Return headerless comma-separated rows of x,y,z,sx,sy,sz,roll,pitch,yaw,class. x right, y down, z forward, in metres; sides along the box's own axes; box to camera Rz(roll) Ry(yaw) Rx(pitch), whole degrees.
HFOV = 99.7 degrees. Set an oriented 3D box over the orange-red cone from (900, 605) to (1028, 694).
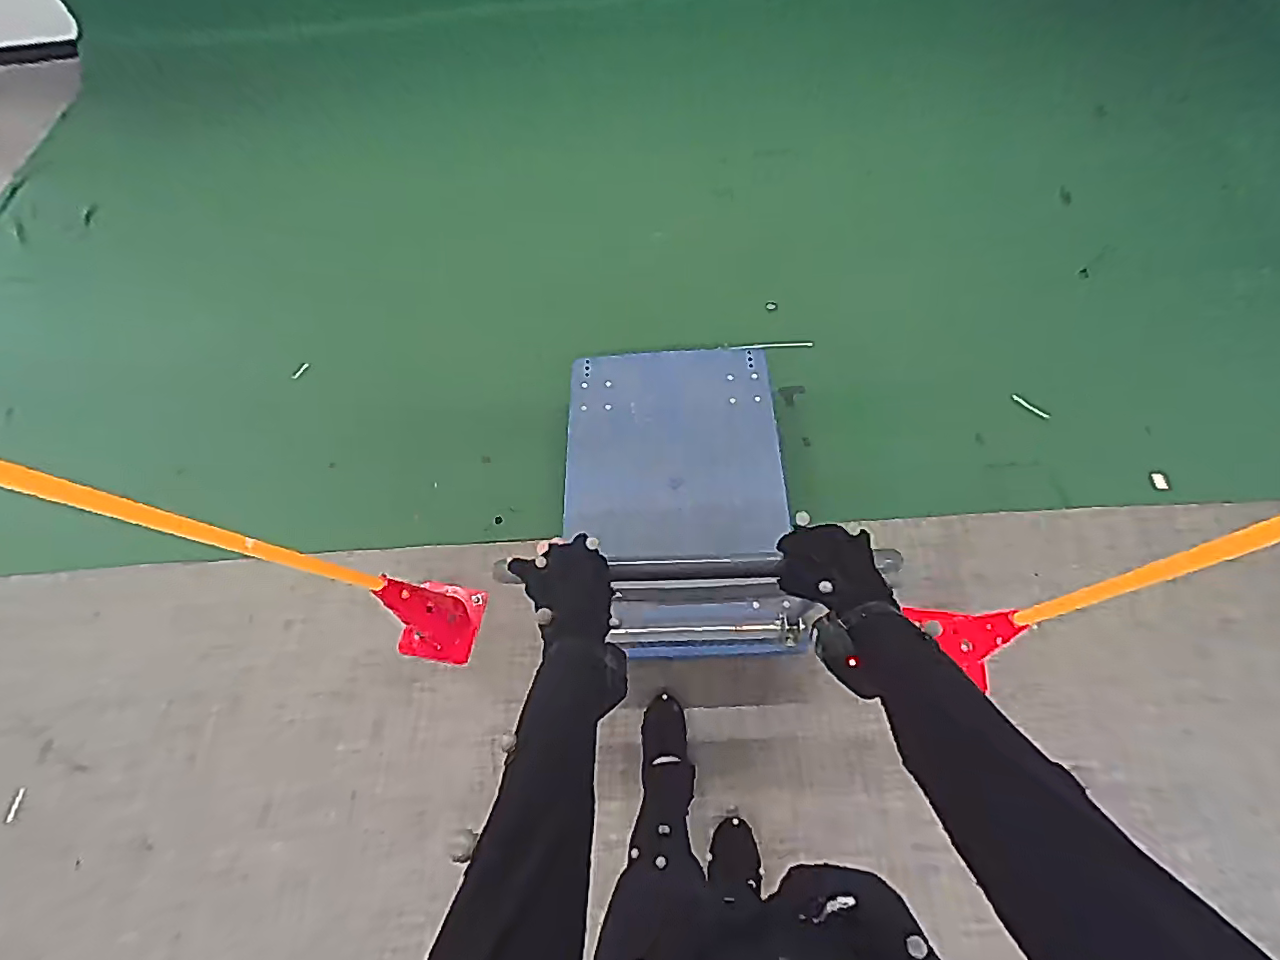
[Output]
0.743,0.343,1.197,0.198,0.360,0.199,6,64,8,orange-red cone
